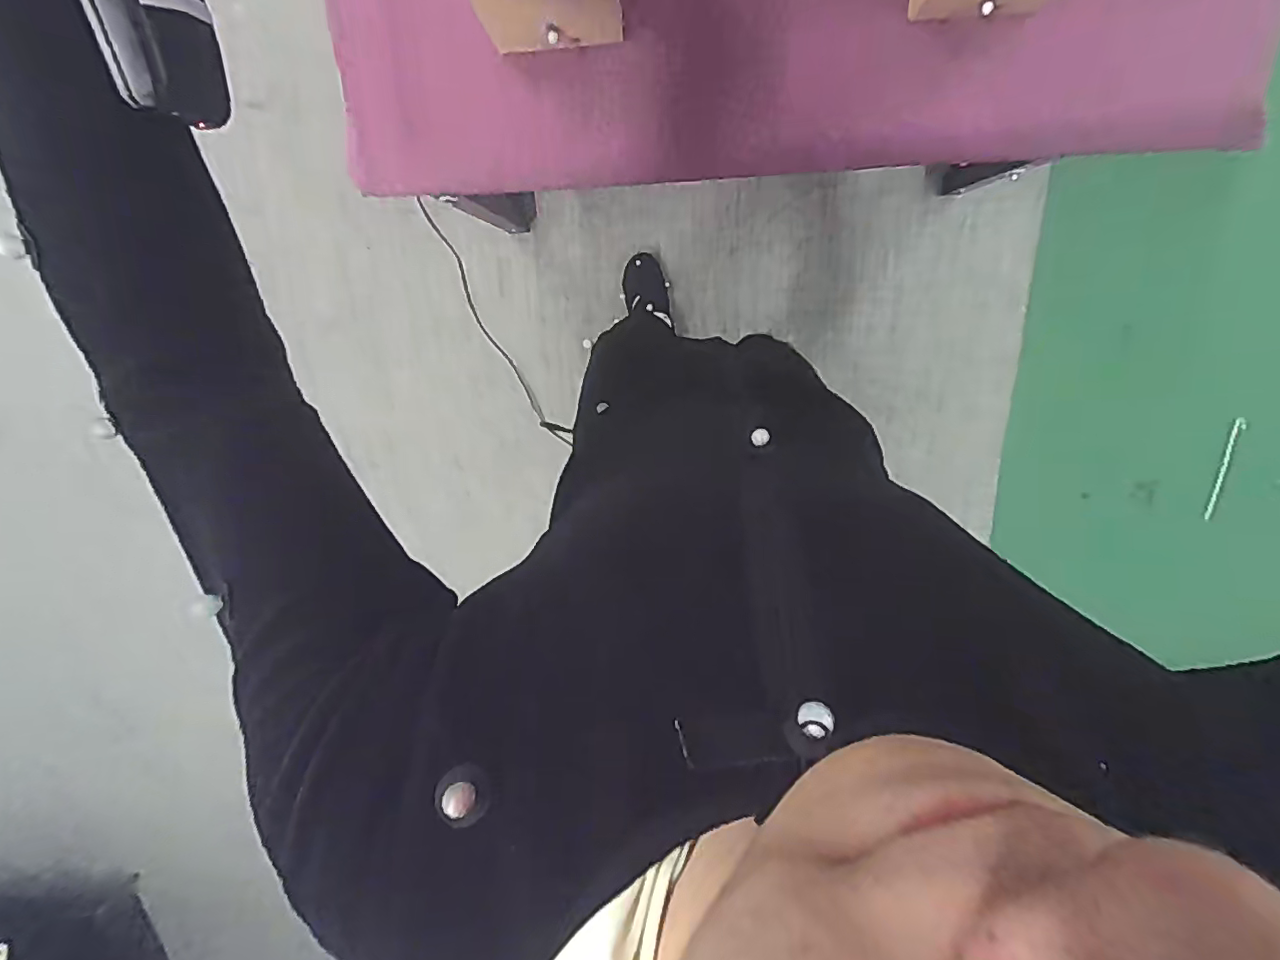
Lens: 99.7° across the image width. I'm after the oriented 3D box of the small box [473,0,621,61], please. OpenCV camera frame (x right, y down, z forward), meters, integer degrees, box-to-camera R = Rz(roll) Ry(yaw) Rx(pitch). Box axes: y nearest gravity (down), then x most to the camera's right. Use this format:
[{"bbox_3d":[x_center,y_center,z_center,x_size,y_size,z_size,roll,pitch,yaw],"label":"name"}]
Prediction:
[{"bbox_3d":[-0.112,-0.620,0.613,0.168,0.176,0.179,-3,107,3],"label":"small box"}]
